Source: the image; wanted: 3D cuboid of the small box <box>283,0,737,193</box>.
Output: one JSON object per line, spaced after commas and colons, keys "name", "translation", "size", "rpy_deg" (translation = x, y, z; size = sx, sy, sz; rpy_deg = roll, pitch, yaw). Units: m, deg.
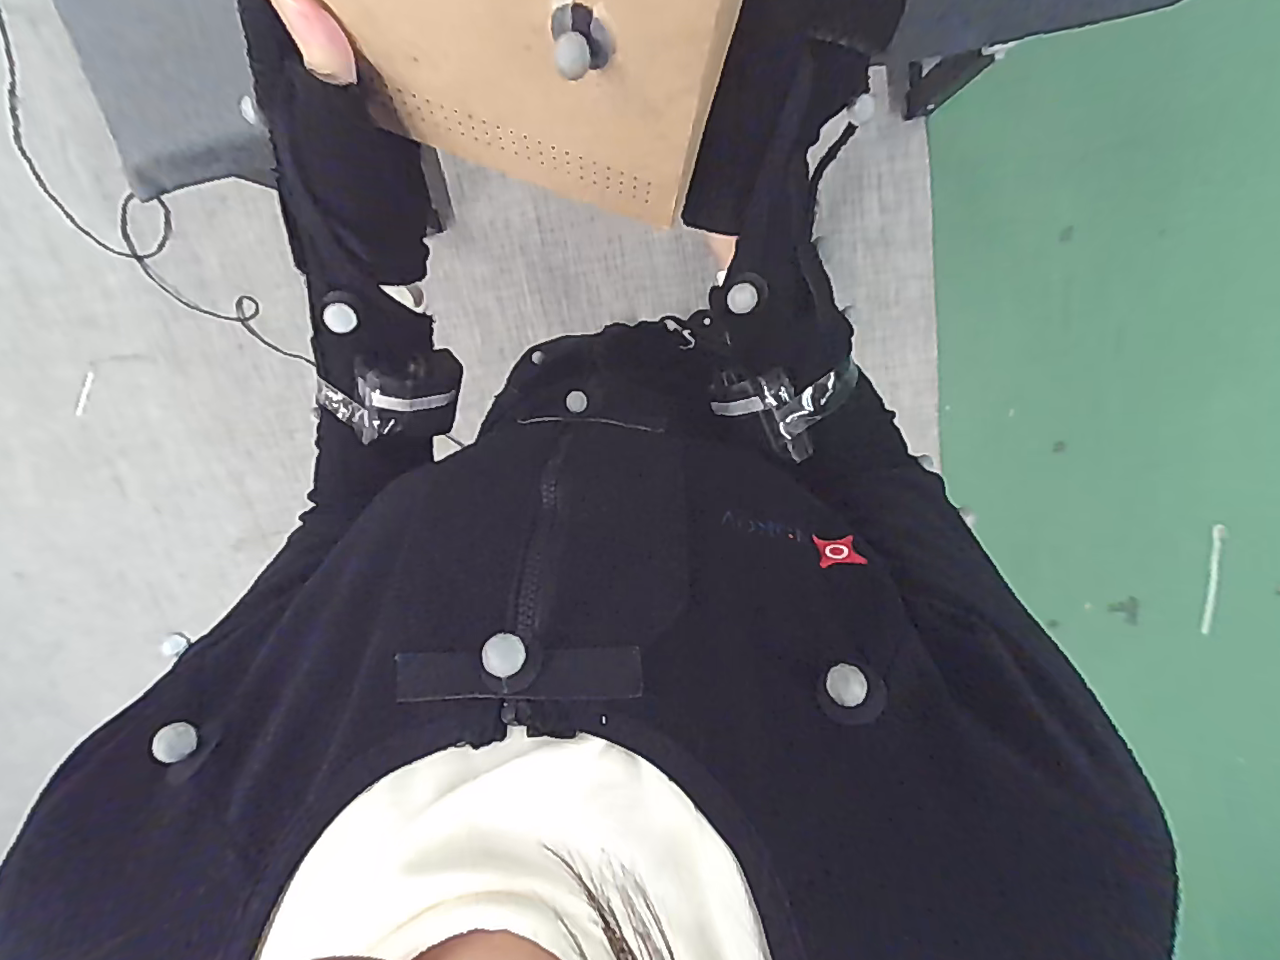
{"name": "small box", "translation": [-0.038, -0.245, 0.201], "size": [0.179, 0.176, 0.168], "rpy_deg": [17, 81, -1]}
